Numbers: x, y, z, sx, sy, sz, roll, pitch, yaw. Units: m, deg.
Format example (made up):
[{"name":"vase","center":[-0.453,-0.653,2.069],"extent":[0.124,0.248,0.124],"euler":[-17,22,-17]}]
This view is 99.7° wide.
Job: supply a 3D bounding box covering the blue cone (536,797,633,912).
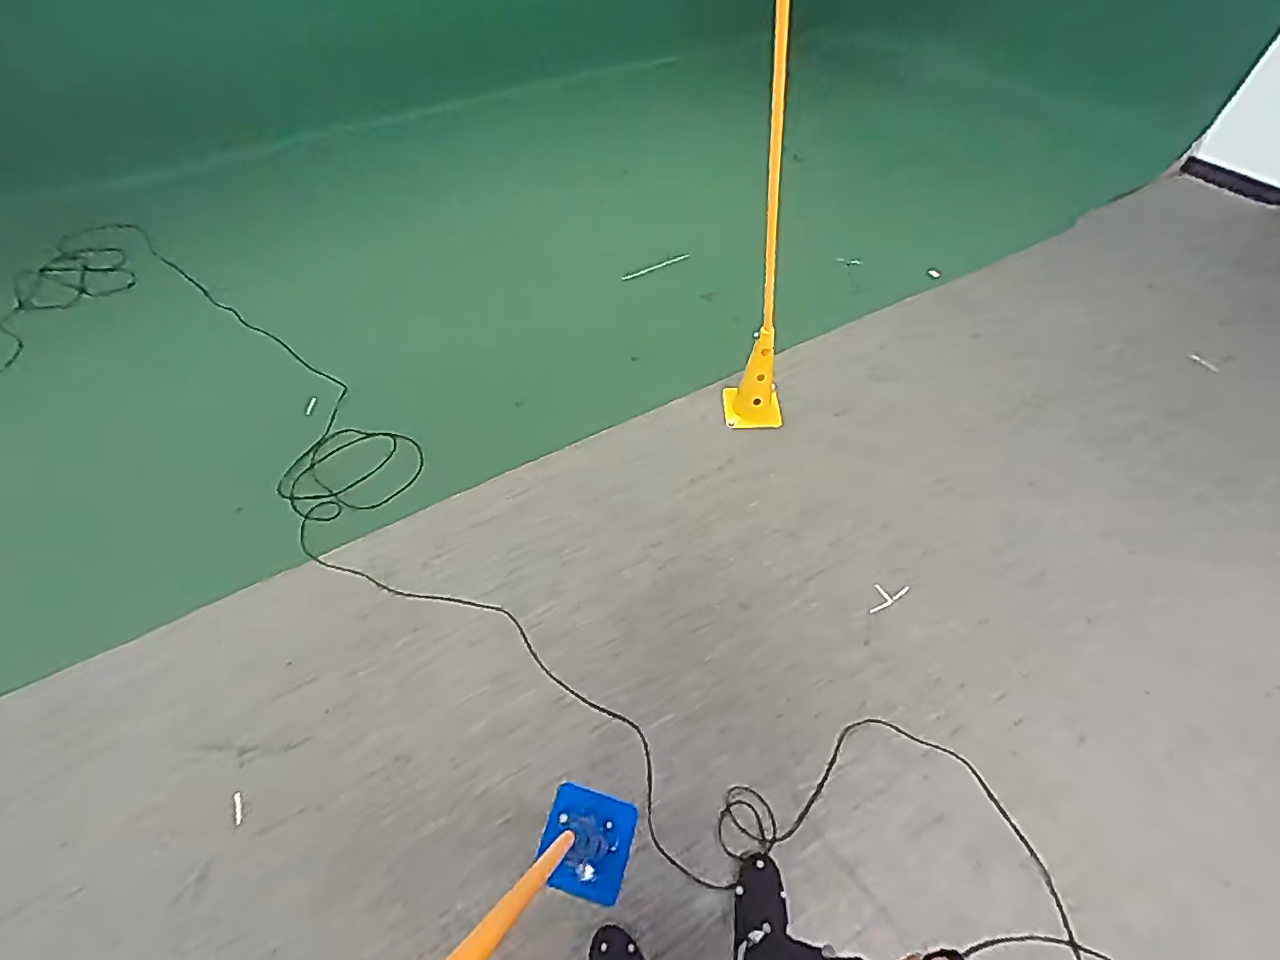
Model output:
[{"name":"blue cone","center":[-0.122,0.732,1.061],"extent":[0.192,0.380,0.193],"euler":[12,57,9]}]
